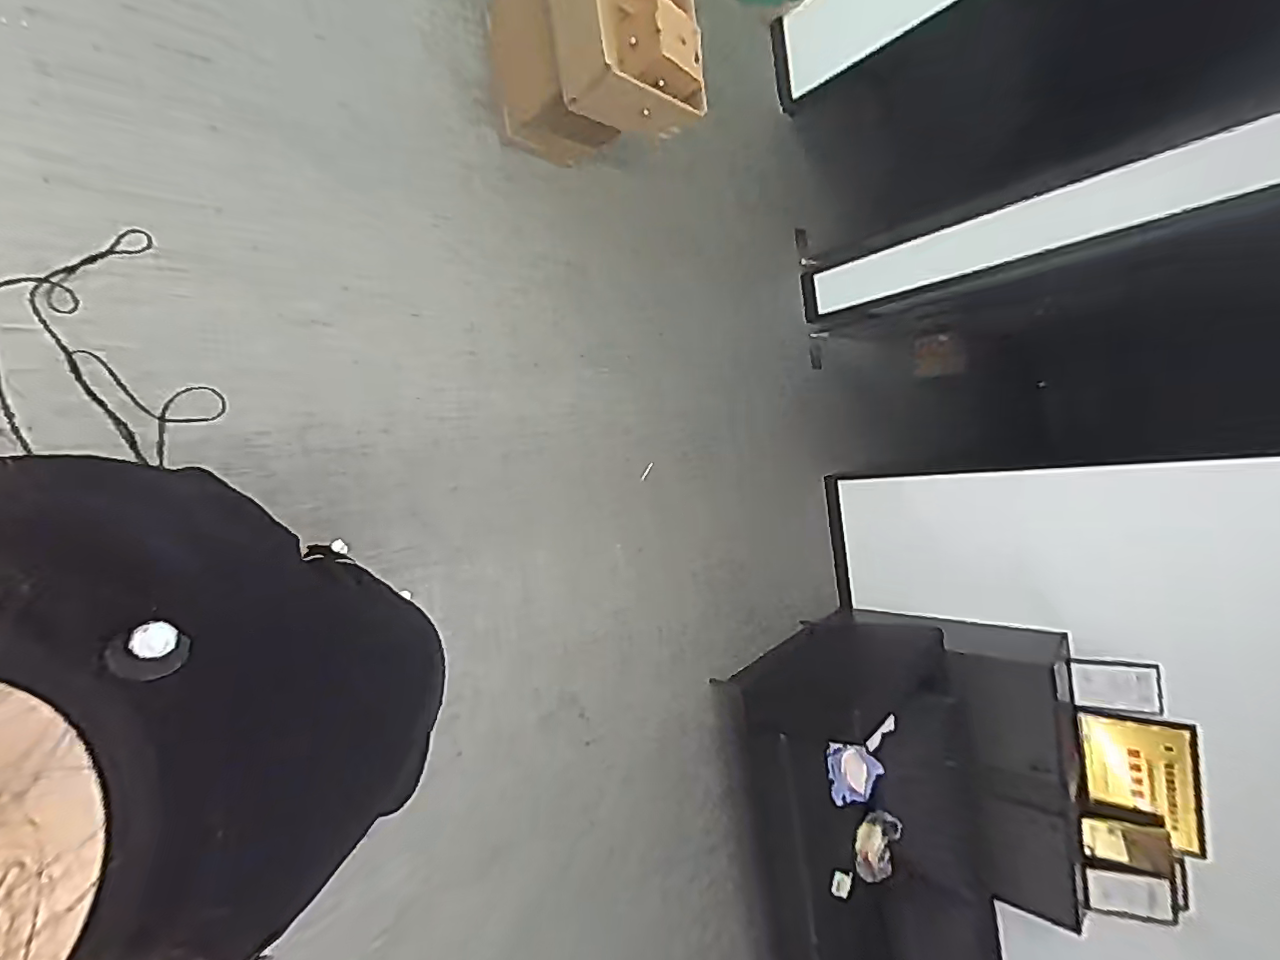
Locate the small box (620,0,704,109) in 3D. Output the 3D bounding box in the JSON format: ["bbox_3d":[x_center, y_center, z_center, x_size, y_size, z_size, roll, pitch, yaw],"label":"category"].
[{"bbox_3d":[0.057,-1.189,1.514,0.179,0.176,0.168,-3,90,-43],"label":"small box"}]
